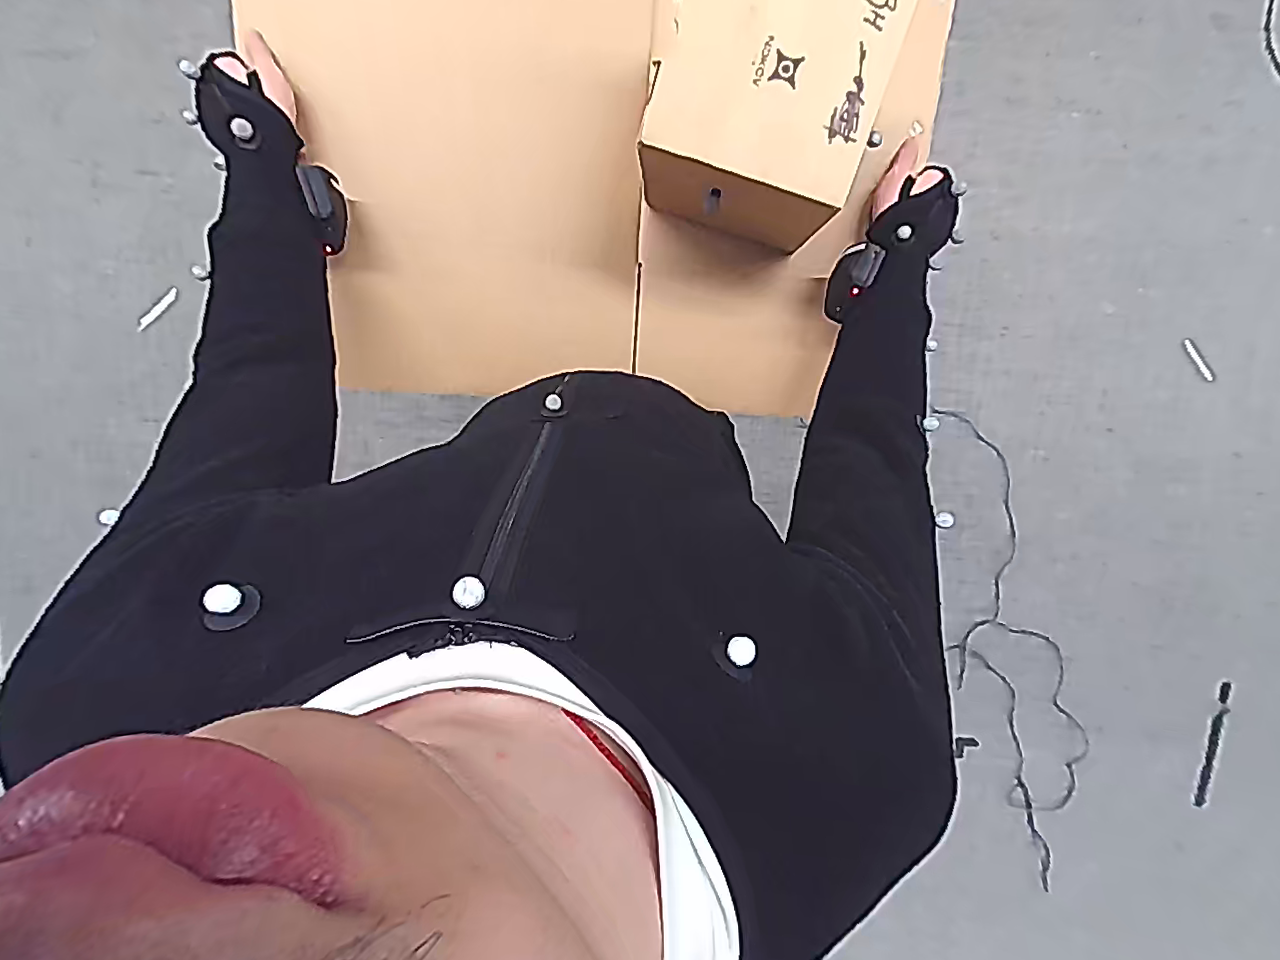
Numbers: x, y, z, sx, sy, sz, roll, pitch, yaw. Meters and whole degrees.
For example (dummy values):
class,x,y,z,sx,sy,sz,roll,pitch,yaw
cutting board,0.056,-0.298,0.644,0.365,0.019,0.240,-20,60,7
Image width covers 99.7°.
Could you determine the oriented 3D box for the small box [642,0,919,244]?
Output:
class,x,y,z,sx,sy,sz,roll,pitch,yaw
small box,0.113,-0.340,0.500,0.179,0.176,0.168,18,102,0
